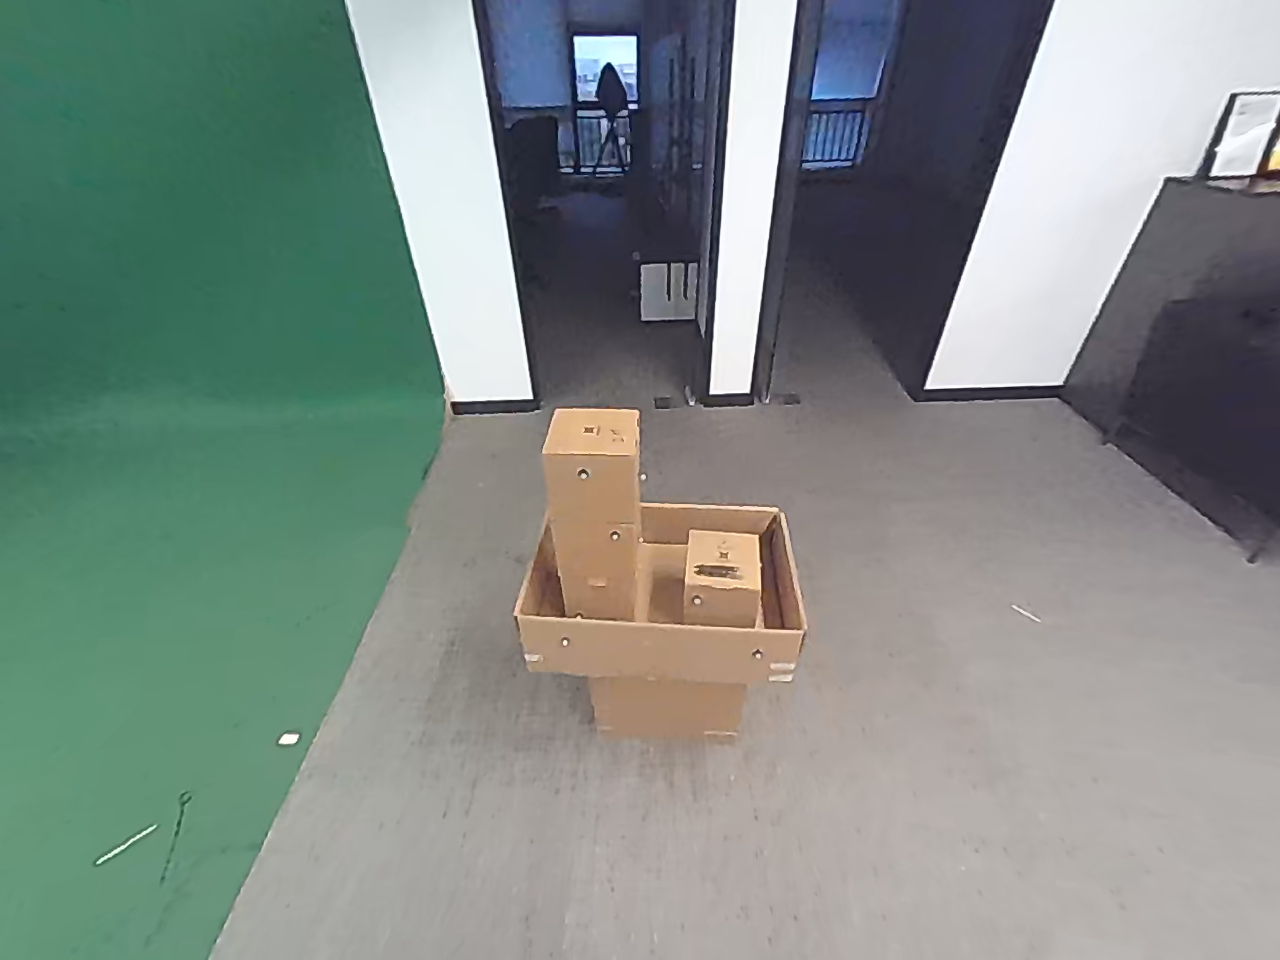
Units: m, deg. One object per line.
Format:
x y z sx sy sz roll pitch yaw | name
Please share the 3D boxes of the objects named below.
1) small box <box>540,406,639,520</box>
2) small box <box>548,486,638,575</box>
-0.094 -0.034 1.095 0.179 0.176 0.168 2 39 2 | small box
-0.097 0.094 1.198 0.179 0.176 0.168 3 38 2 | small box
